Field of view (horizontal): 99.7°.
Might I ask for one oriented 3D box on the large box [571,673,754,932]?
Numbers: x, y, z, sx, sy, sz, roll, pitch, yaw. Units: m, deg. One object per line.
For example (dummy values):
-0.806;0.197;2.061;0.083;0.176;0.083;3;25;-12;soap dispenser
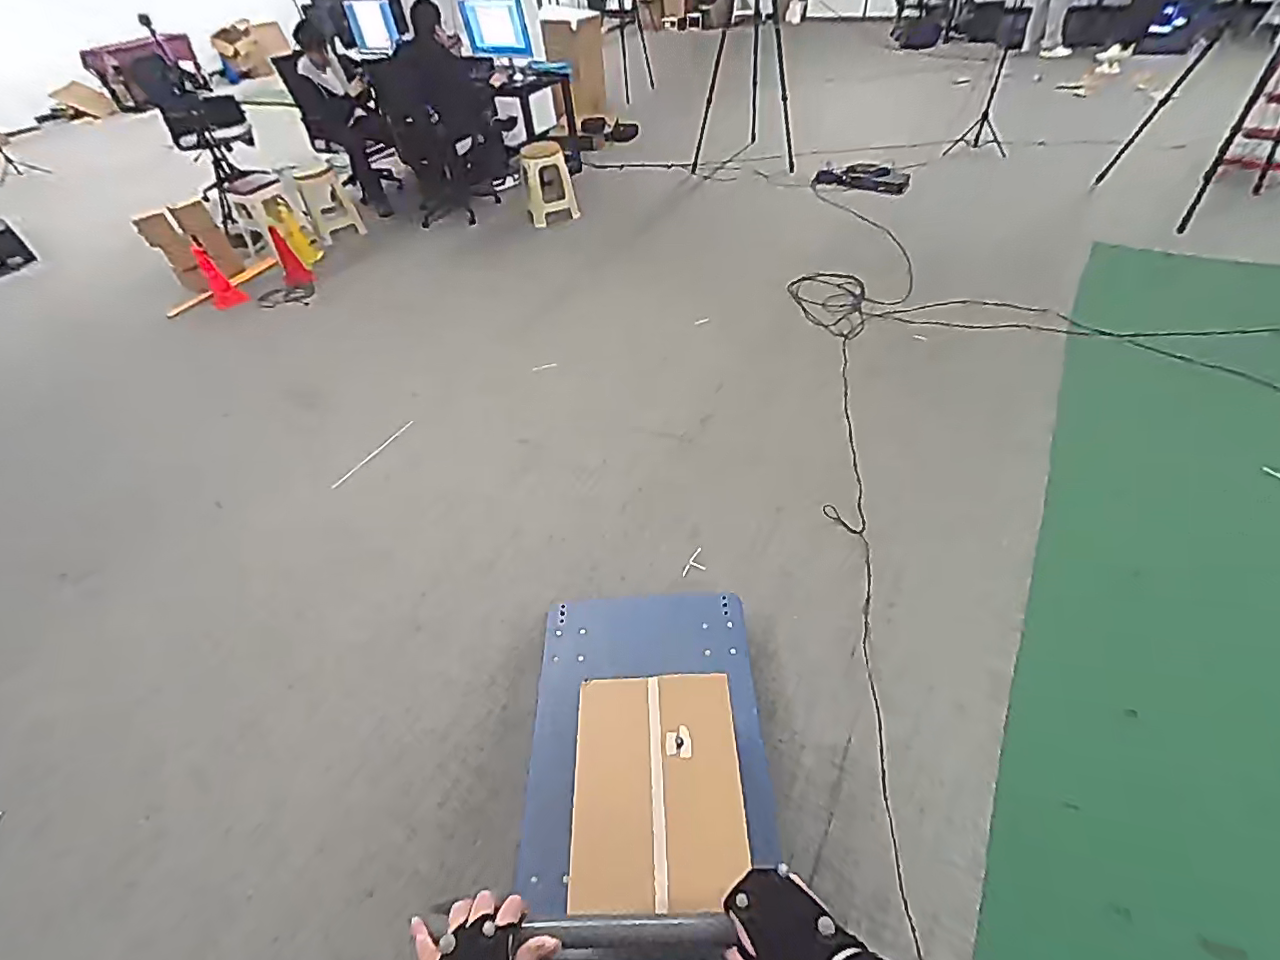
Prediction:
0.045;0.674;1.138;0.320;0.320;0.408;-4;46;3;large box
